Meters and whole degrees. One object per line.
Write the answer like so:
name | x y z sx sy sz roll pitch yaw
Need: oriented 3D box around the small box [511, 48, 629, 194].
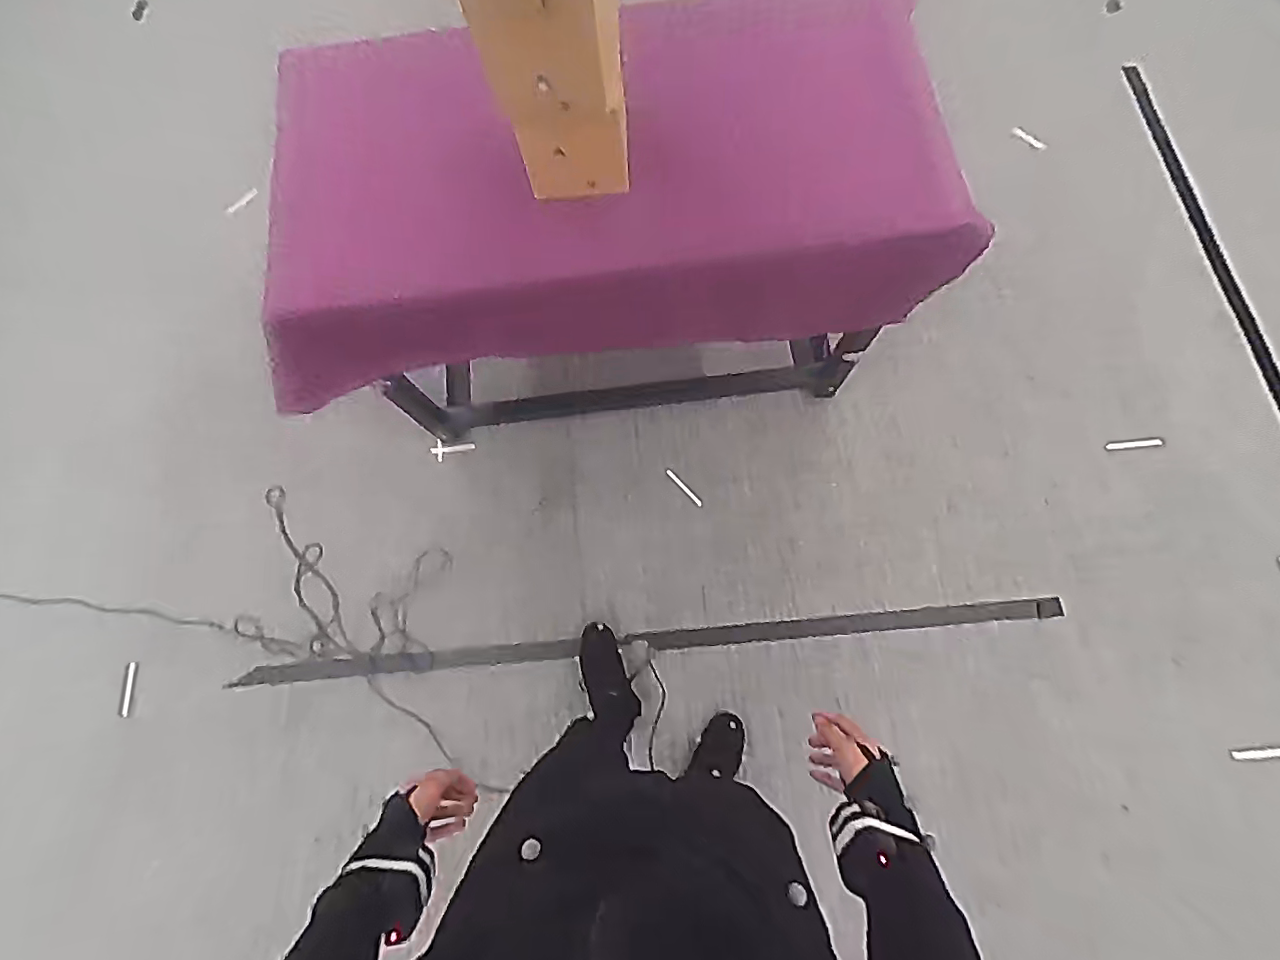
small box | -0.107 -0.601 0.896 0.168 0.176 0.179 -3 74 3

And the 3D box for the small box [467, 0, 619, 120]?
small box | -0.122 -0.634 0.735 0.168 0.176 0.179 4 75 5
